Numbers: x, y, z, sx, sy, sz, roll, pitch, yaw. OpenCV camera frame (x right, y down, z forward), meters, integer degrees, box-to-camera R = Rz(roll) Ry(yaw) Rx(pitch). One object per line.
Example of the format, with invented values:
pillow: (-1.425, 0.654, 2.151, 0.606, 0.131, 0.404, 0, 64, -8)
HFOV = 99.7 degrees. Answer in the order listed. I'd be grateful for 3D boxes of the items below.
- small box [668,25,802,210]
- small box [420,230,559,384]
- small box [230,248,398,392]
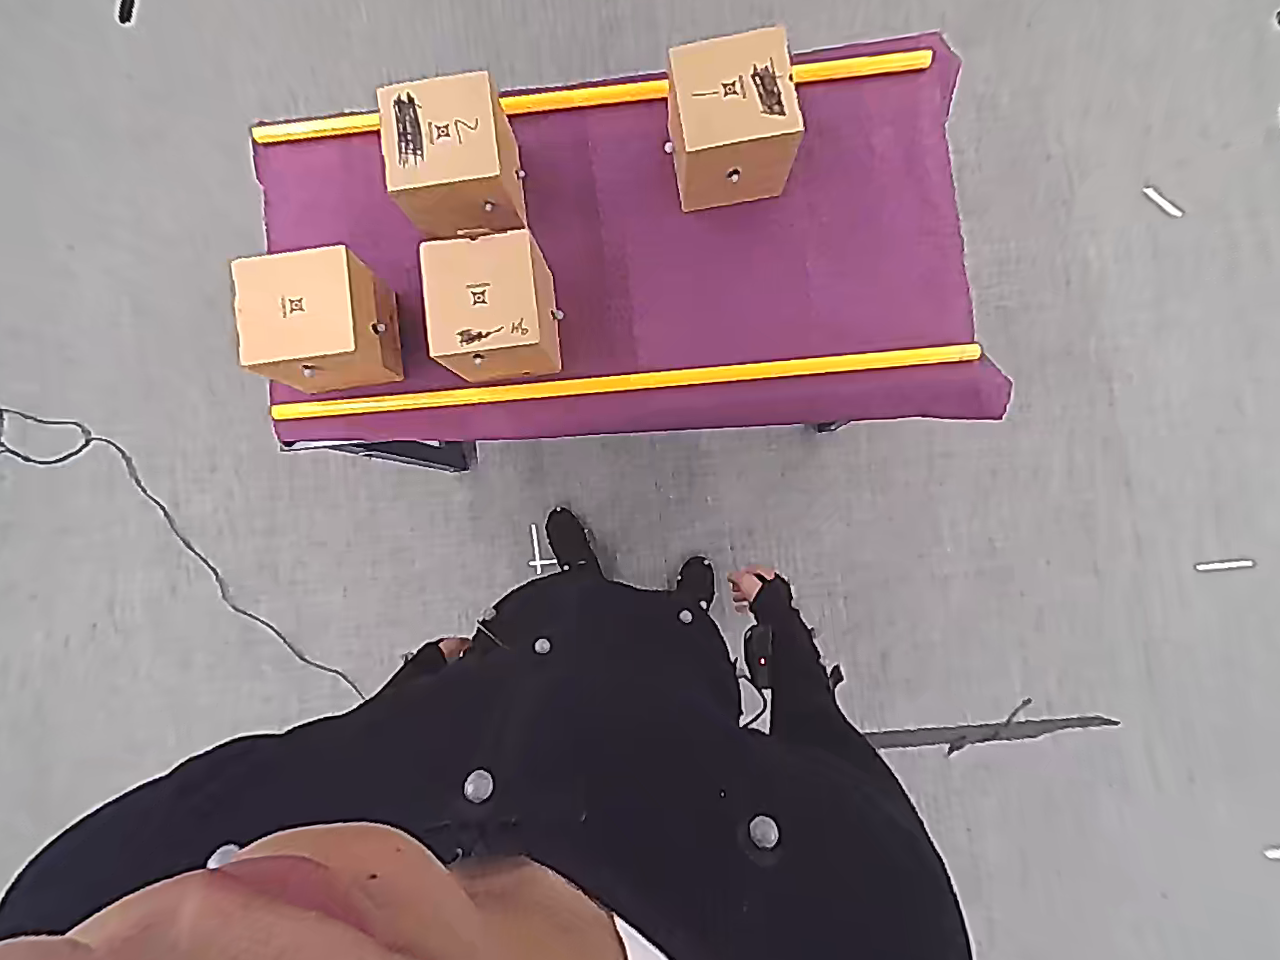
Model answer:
small box: (0.140, -0.562, 0.861, 0.179, 0.176, 0.168, -9, 87, 3)
small box: (-0.231, -0.265, 0.862, 0.168, 0.176, 0.179, -6, 86, 3)
small box: (-0.510, -0.248, 0.875, 0.179, 0.176, 0.168, -8, 86, 2)
